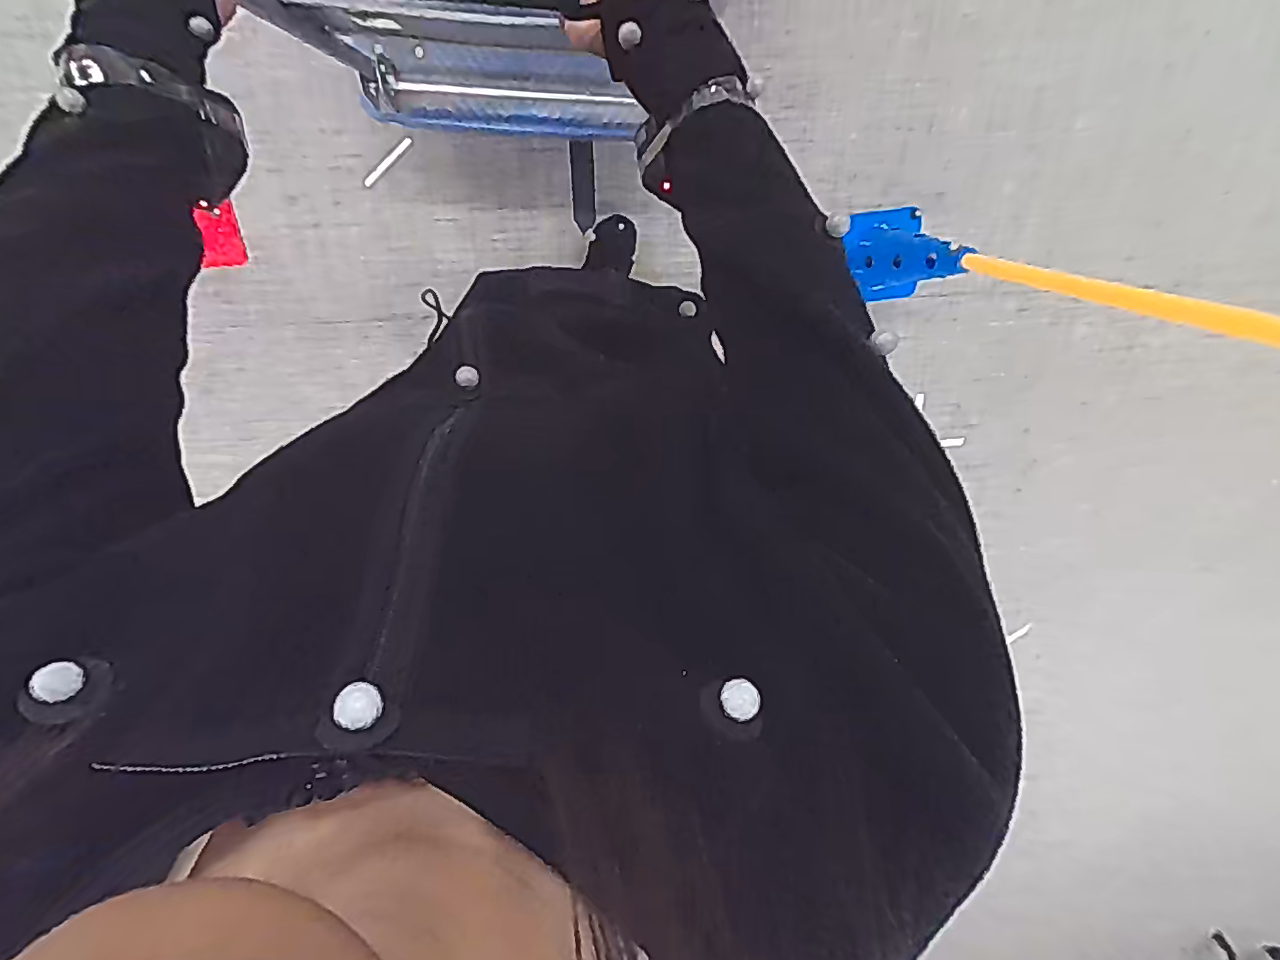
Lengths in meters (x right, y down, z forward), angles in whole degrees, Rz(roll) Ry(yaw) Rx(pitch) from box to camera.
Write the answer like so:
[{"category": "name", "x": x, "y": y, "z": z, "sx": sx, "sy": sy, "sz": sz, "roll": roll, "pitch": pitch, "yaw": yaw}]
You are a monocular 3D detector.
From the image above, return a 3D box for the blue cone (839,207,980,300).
[{"category": "blue cone", "x": 0.570, "y": -0.466, "z": 1.120, "sx": 0.193, "sy": 0.380, "sz": 0.192, "roll": -6, "pitch": 112, "yaw": -1}]
